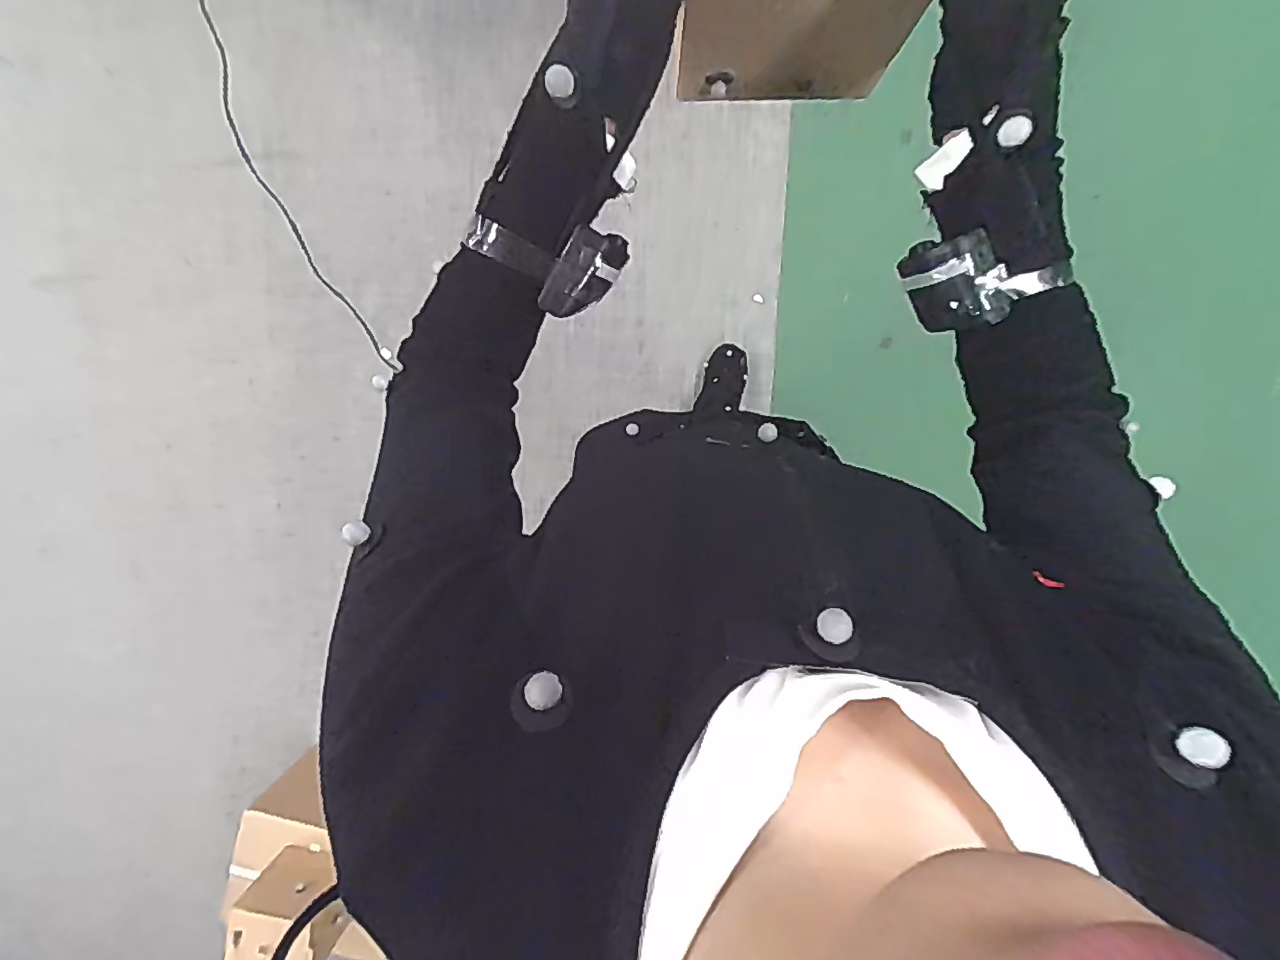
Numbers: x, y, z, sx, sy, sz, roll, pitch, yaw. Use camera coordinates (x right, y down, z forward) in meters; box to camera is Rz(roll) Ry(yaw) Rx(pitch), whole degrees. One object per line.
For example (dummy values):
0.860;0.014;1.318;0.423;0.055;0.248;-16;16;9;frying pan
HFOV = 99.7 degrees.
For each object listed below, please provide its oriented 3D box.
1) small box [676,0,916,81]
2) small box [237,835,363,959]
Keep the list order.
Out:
0.112;-0.408;0.368;0.168;0.176;0.179;-1;95;0;small box
-0.746;0.933;1.204;0.179;0.176;0.168;9;96;1;small box
